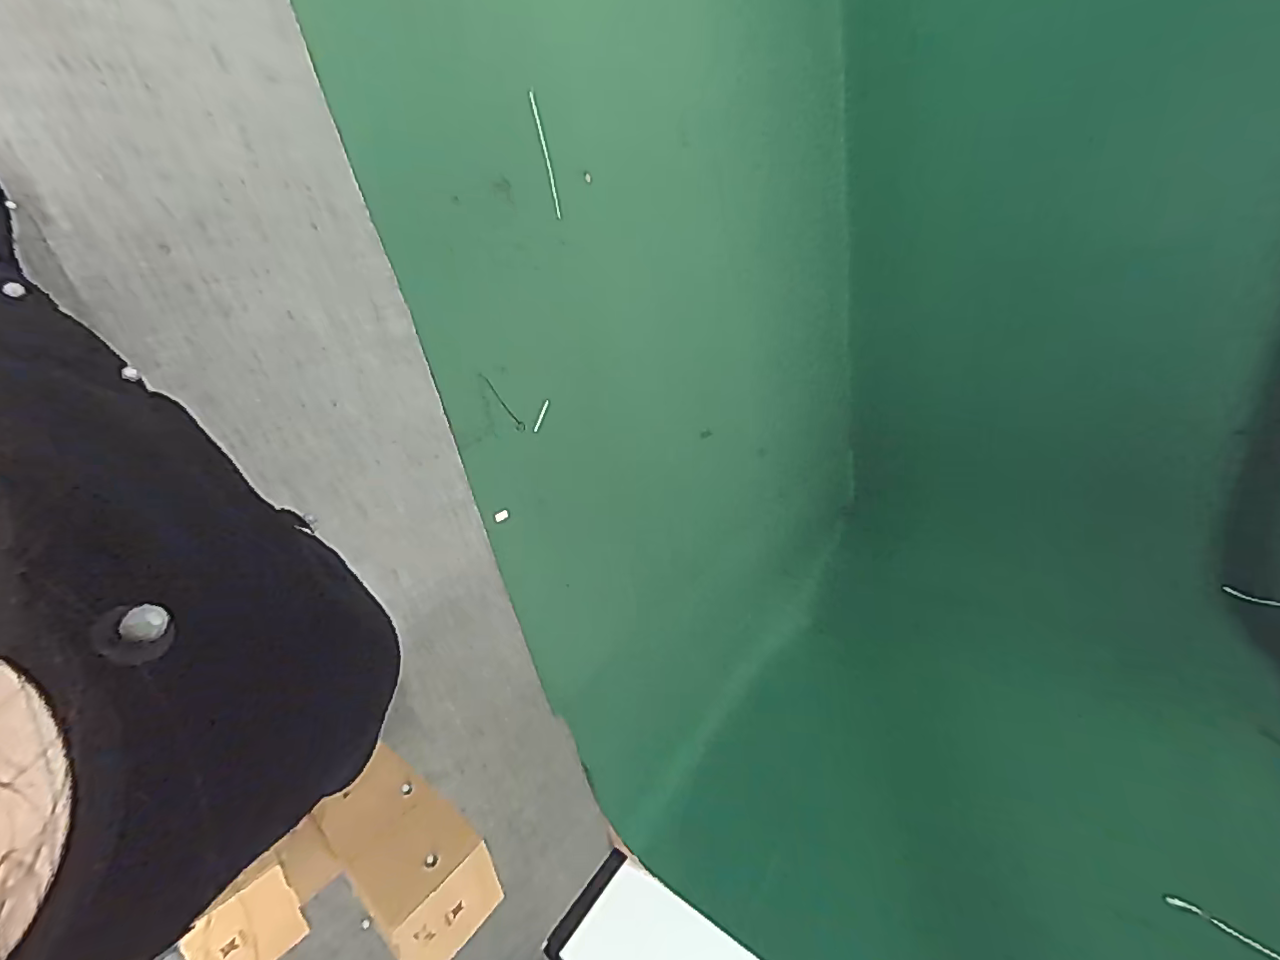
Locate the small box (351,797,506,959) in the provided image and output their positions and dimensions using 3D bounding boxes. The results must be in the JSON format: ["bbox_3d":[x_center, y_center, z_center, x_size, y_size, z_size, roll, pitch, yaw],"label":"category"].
[{"bbox_3d":[-0.372,0.714,0.960,0.179,0.176,0.168,-30,121,-43],"label":"small box"}]

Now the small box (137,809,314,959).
[{"bbox_3d":[-0.666,0.687,0.868,0.179,0.176,0.168,-26,118,-43],"label":"small box"}]

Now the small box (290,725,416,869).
[{"bbox_3d":[-0.621,0.675,1.173,0.168,0.176,0.179,-28,121,-44],"label":"small box"}]
